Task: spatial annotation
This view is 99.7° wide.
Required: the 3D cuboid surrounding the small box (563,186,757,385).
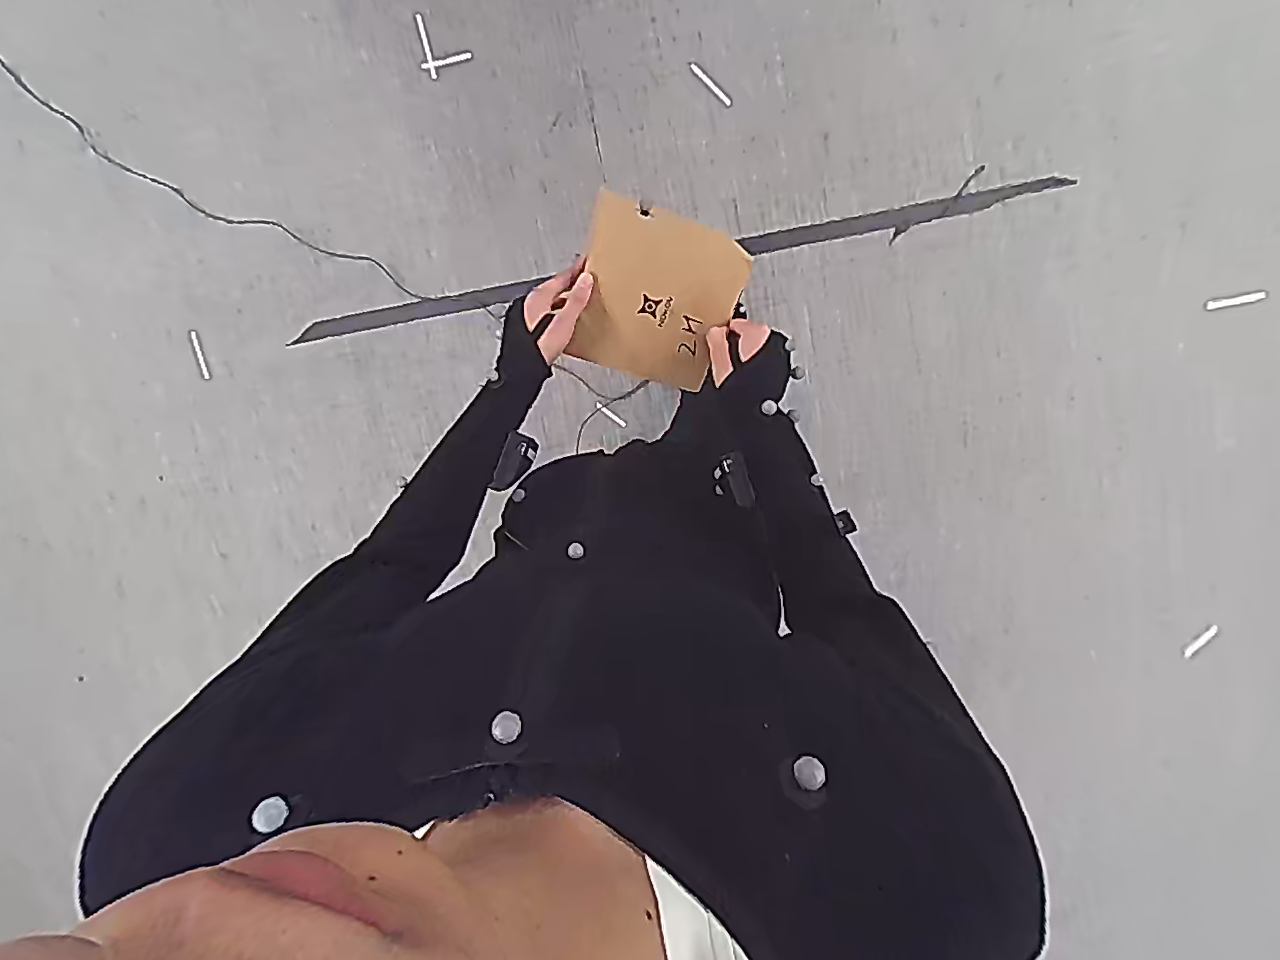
[{"bbox_3d":[0.013,-0.244,0.666,0.179,0.176,0.168,13,123,-15],"label":"small box"}]
